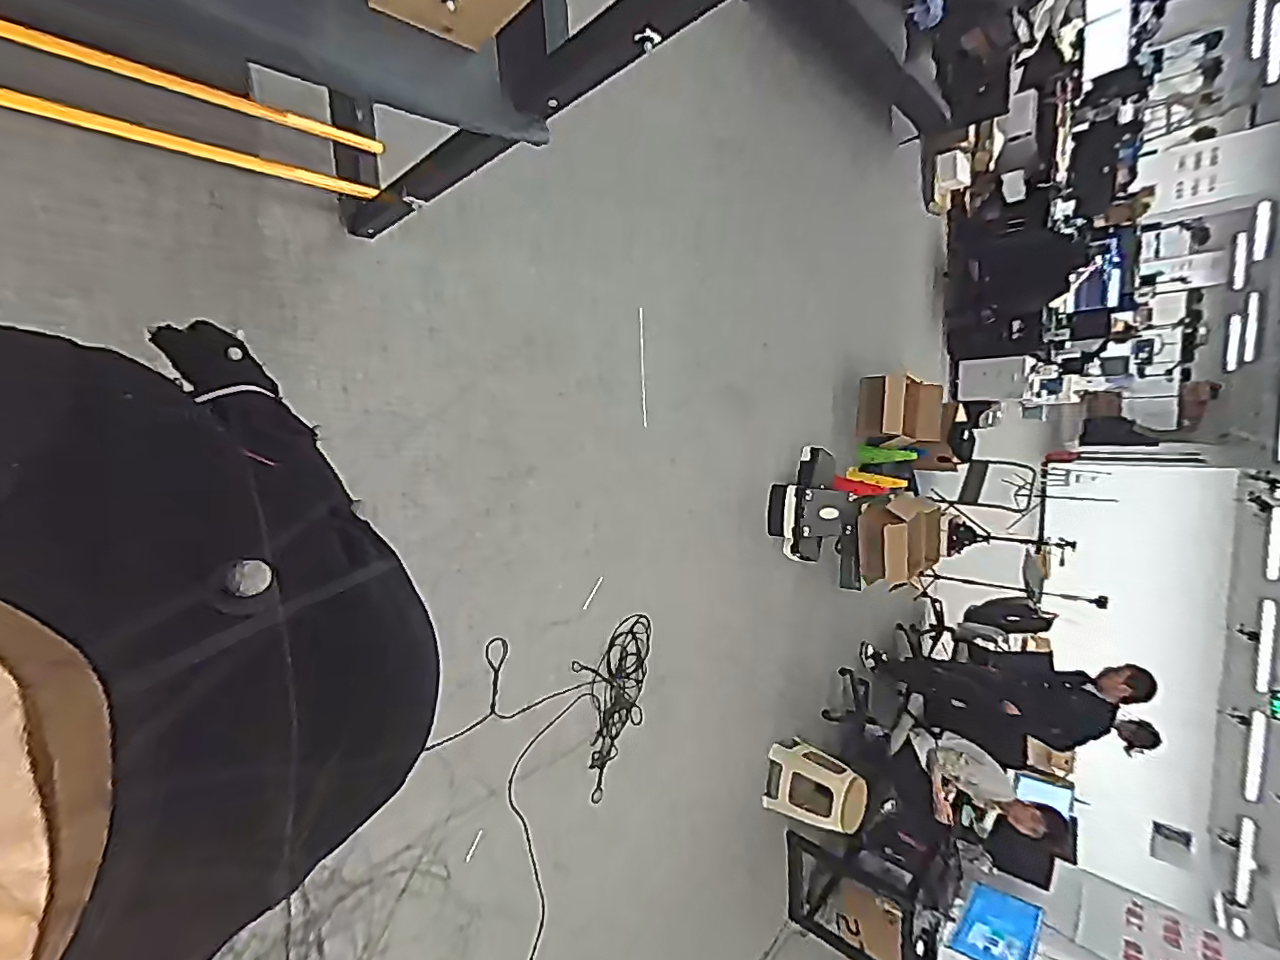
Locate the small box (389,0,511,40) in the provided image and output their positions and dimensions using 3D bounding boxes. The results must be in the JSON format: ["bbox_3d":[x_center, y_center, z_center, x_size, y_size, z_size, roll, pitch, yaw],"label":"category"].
[{"bbox_3d":[-0.259,-0.736,0.710,0.168,0.176,0.179,-15,103,-46],"label":"small box"}]
